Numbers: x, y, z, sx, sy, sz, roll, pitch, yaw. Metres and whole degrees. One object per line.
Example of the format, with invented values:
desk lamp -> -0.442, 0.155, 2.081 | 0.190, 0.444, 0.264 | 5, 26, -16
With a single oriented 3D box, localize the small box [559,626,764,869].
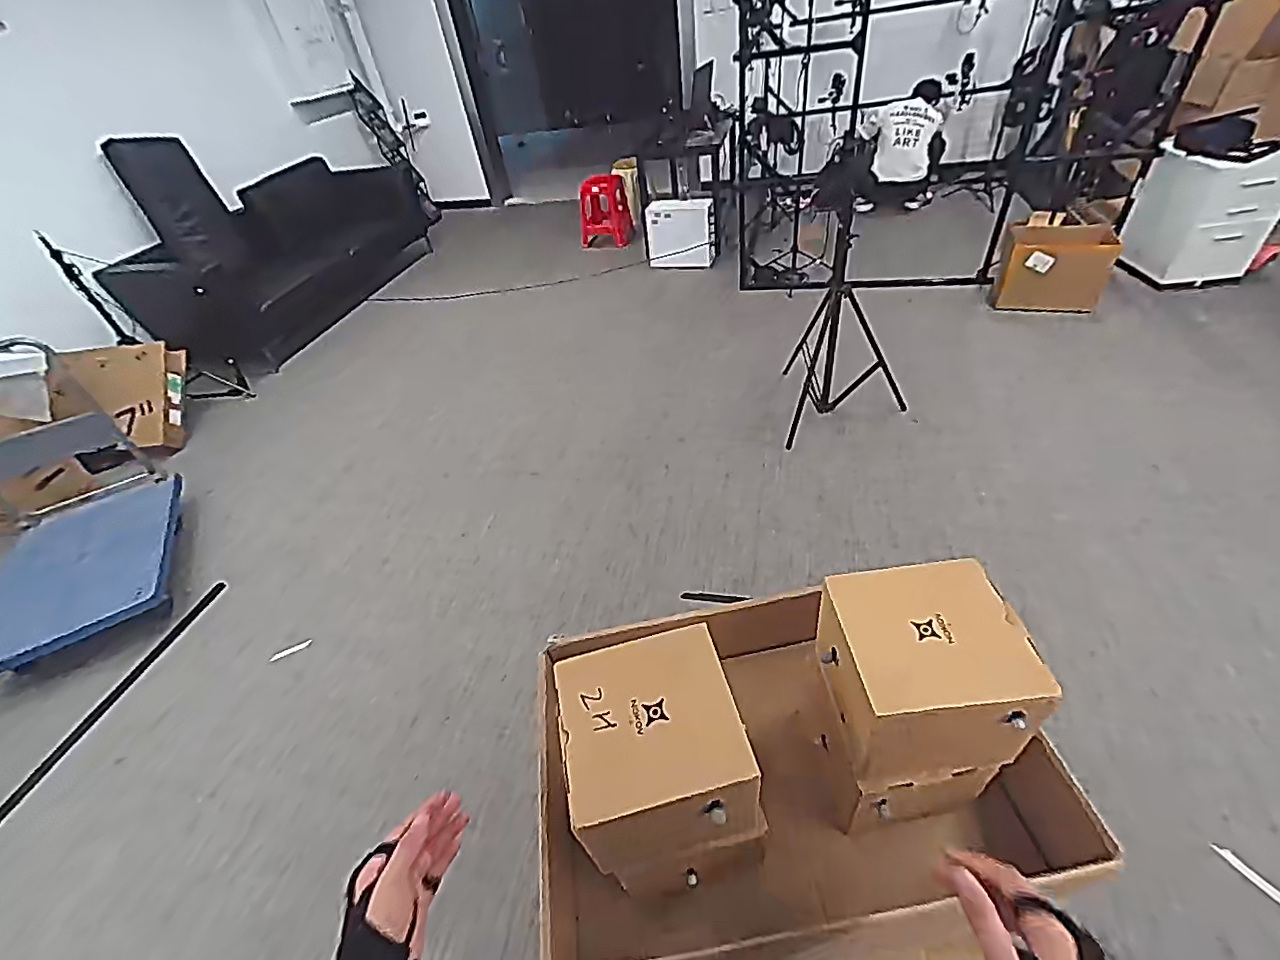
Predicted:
small box -> 0.021, 0.291, 0.590 | 0.179, 0.176, 0.168 | -14, 42, -4

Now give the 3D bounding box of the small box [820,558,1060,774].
small box -> 0.314, 0.214, 0.616 | 0.179, 0.176, 0.168 | -8, 42, 3
